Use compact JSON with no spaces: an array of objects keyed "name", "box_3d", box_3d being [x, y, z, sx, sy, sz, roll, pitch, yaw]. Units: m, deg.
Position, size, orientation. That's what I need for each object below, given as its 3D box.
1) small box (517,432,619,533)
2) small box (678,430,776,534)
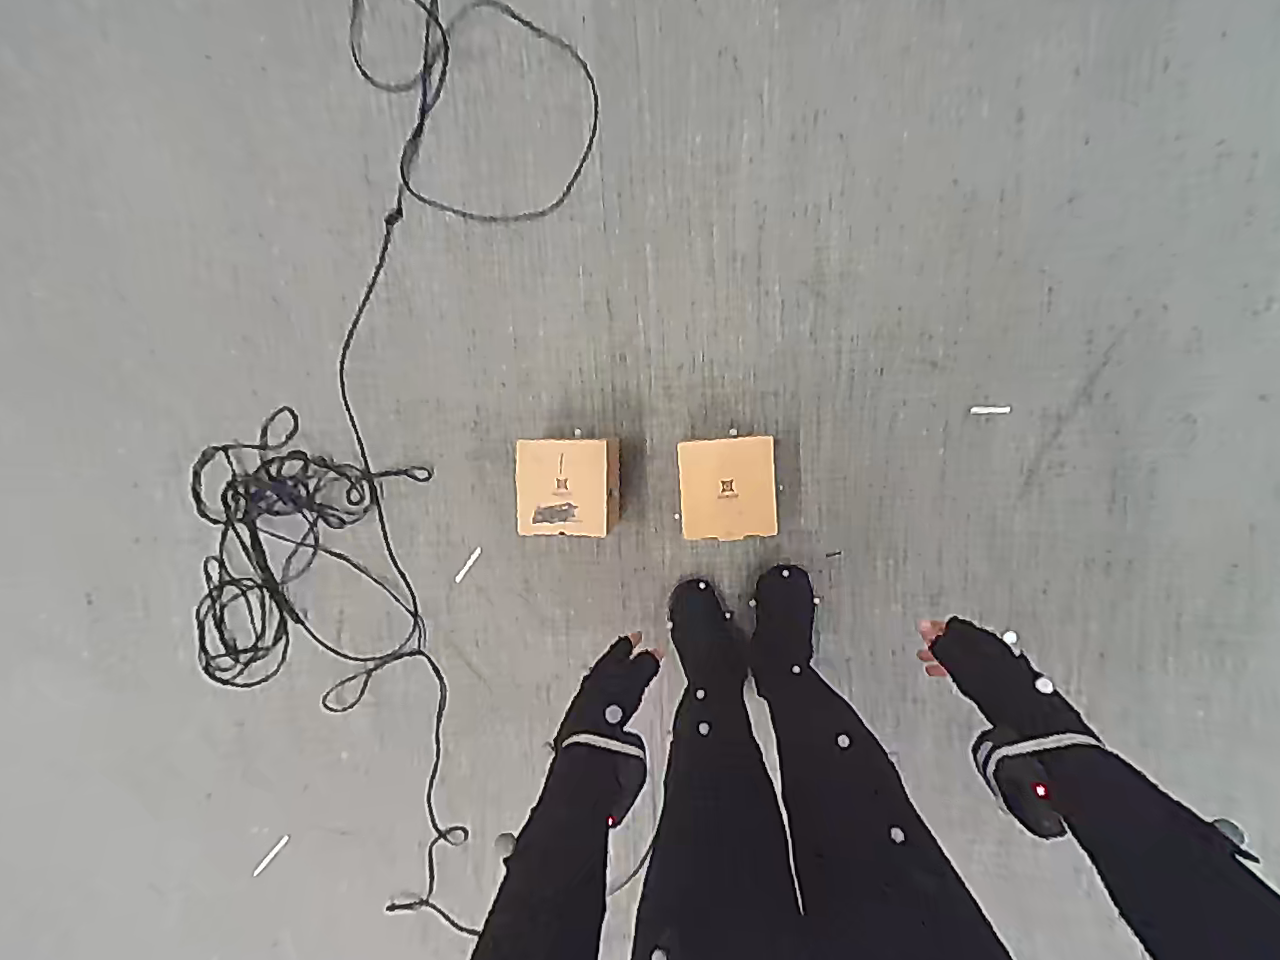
[{"name":"small box","box_3d":[-0.132,-0.002,1.048,0.168,0.176,0.179,1,96,5]},{"name":"small box","box_3d":[0.158,-0.003,1.021,0.168,0.176,0.179,-4,97,6]}]
